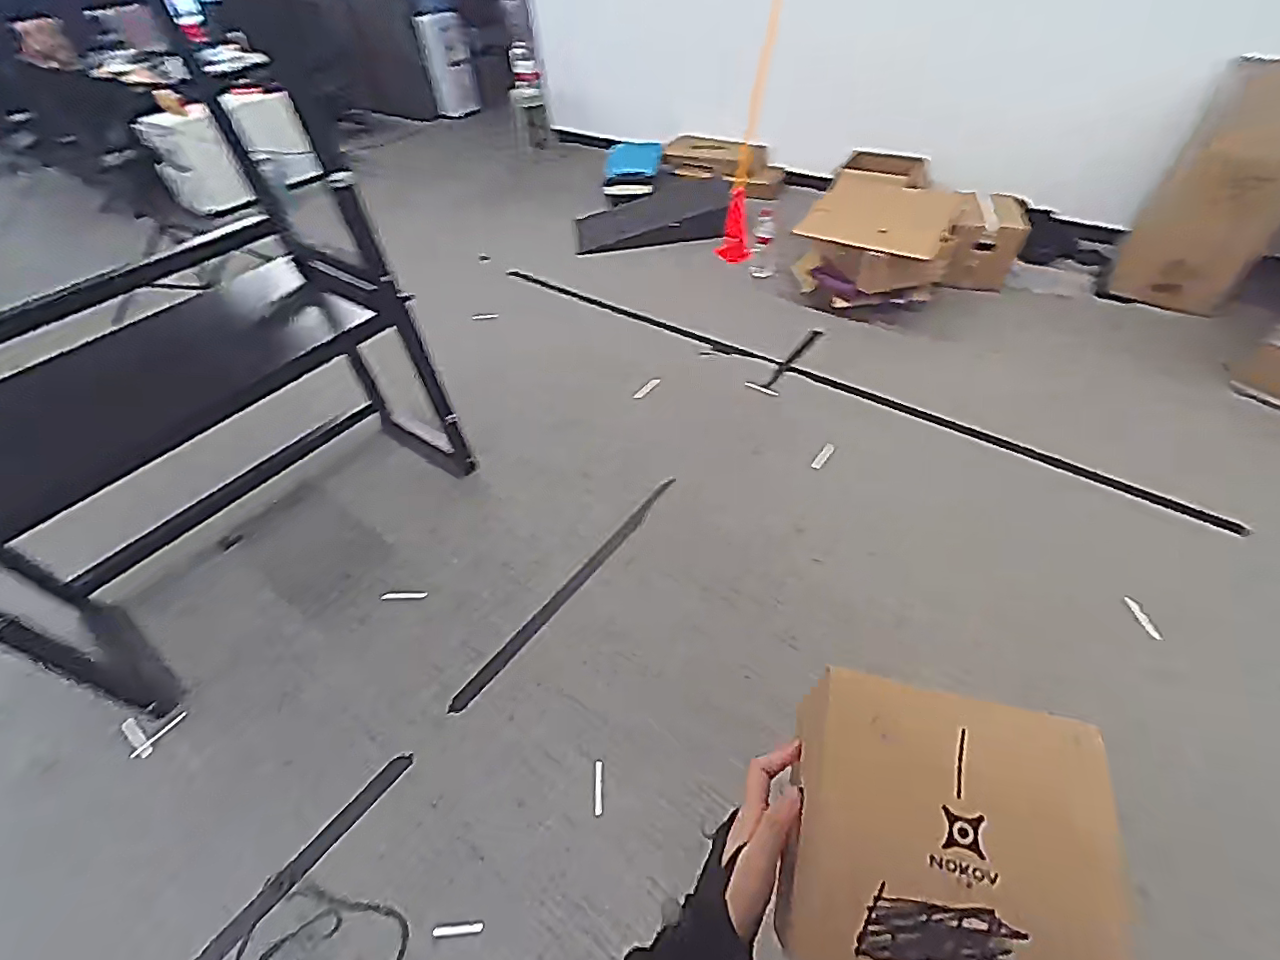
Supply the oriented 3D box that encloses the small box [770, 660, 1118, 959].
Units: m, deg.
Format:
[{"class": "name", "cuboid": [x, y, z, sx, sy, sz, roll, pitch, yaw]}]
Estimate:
[{"class": "small box", "cuboid": [0.190, 0.251, 0.385, 0.168, 0.176, 0.179, 9, 60, 13]}]
